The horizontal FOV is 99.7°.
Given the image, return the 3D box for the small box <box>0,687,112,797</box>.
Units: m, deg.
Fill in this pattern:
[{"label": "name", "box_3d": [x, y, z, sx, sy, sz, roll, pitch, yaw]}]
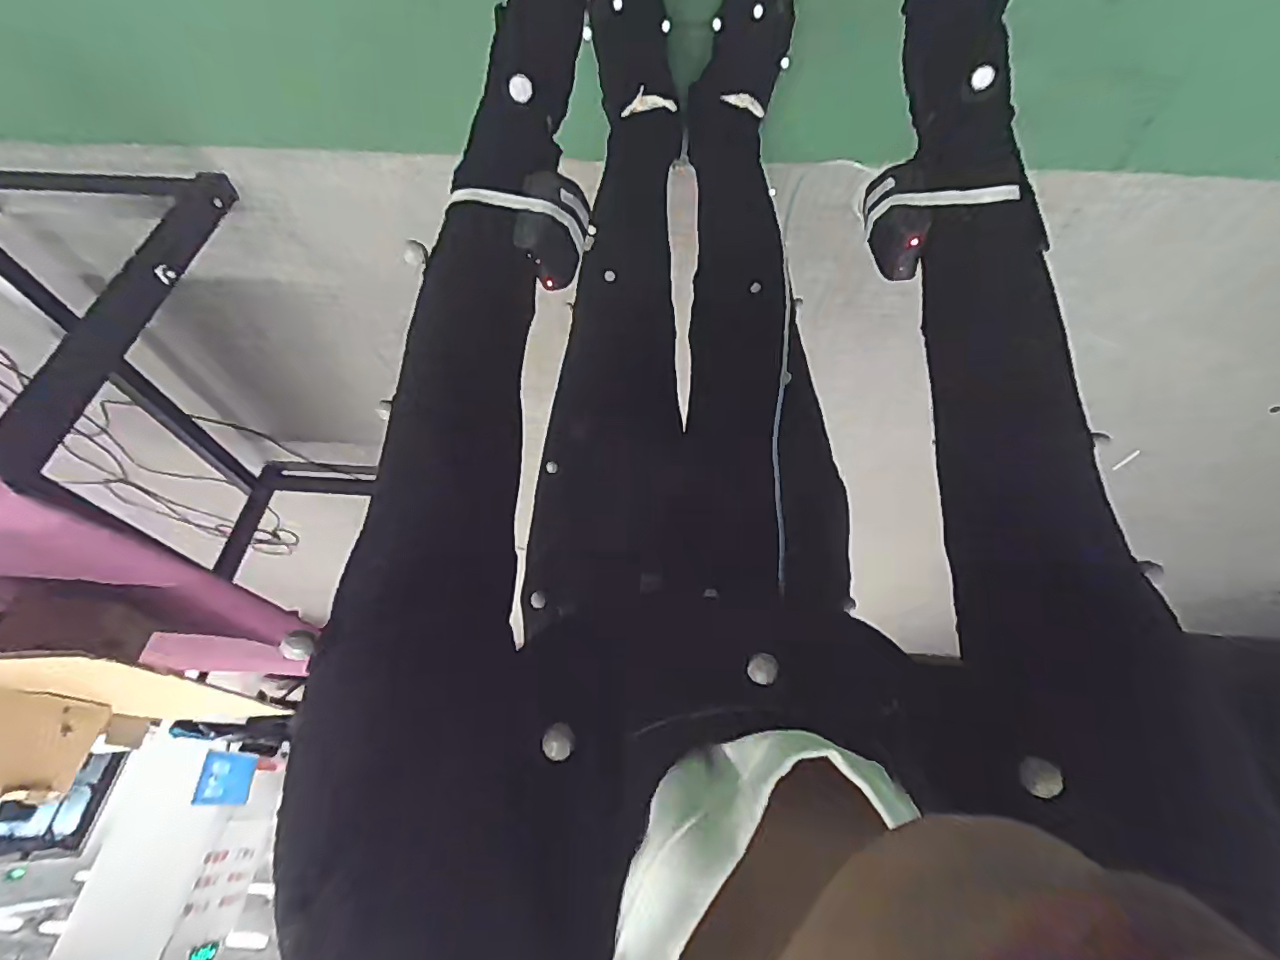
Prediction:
[{"label": "small box", "box_3d": [-1.182, 0.492, 1.021, 0.179, 0.176, 0.168, 5, 150, 0]}]
